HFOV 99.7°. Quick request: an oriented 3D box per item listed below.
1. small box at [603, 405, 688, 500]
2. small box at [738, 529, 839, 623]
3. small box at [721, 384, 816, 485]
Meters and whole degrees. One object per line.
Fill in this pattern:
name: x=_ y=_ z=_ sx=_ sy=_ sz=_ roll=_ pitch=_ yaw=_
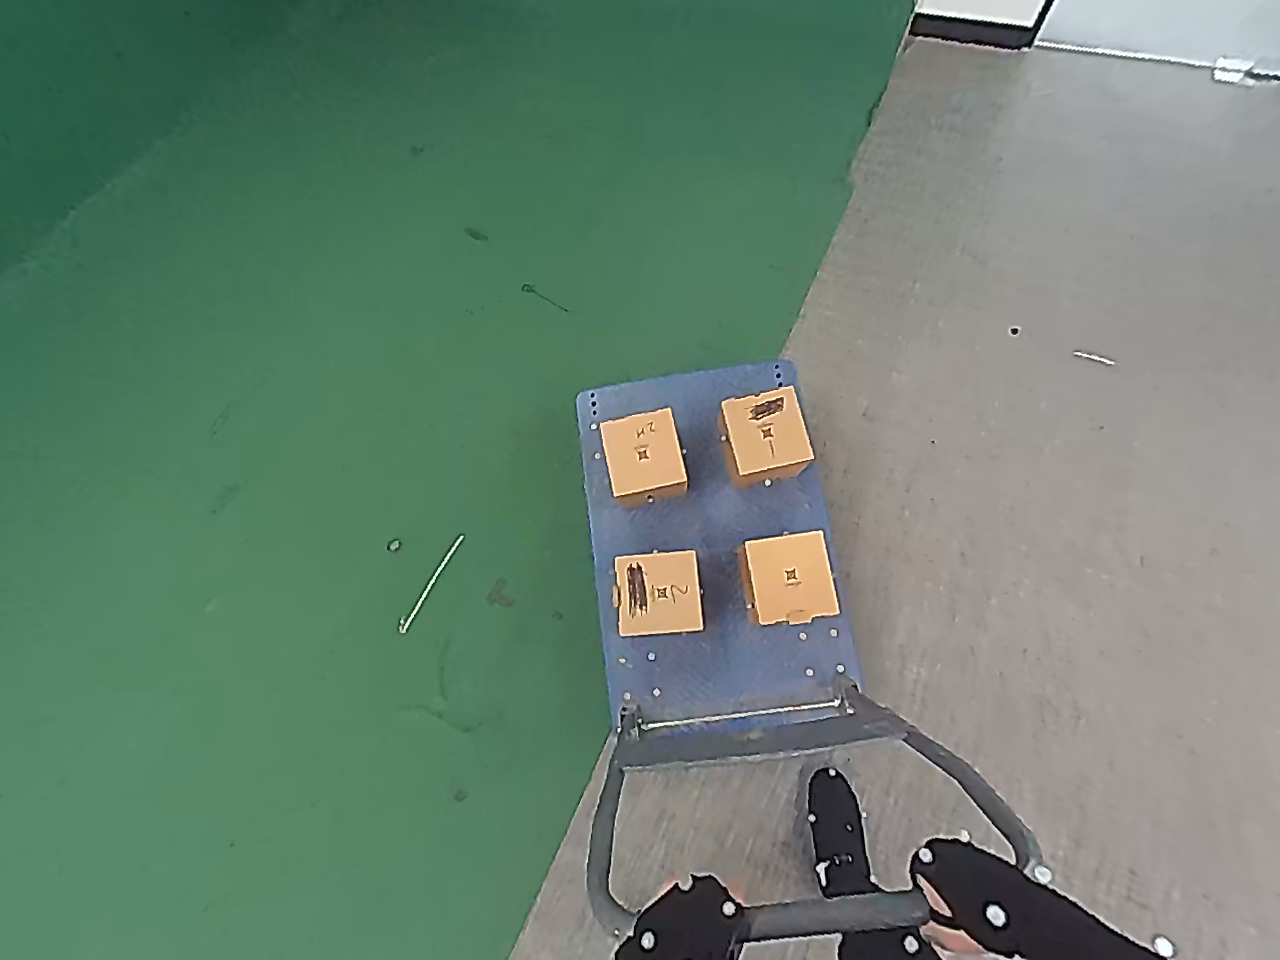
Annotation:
small box: x=0.016 y=-0.055 z=1.260 sx=0.168 sy=0.176 sz=0.179 roll=-11 pitch=78 yaw=1
small box: x=0.317 y=0.213 z=1.190 sx=0.168 sy=0.176 sz=0.179 roll=-8 pitch=79 yaw=2
small box: x=0.288 y=-0.098 z=1.252 sx=0.168 sy=0.176 sz=0.179 roll=-12 pitch=79 yaw=2
